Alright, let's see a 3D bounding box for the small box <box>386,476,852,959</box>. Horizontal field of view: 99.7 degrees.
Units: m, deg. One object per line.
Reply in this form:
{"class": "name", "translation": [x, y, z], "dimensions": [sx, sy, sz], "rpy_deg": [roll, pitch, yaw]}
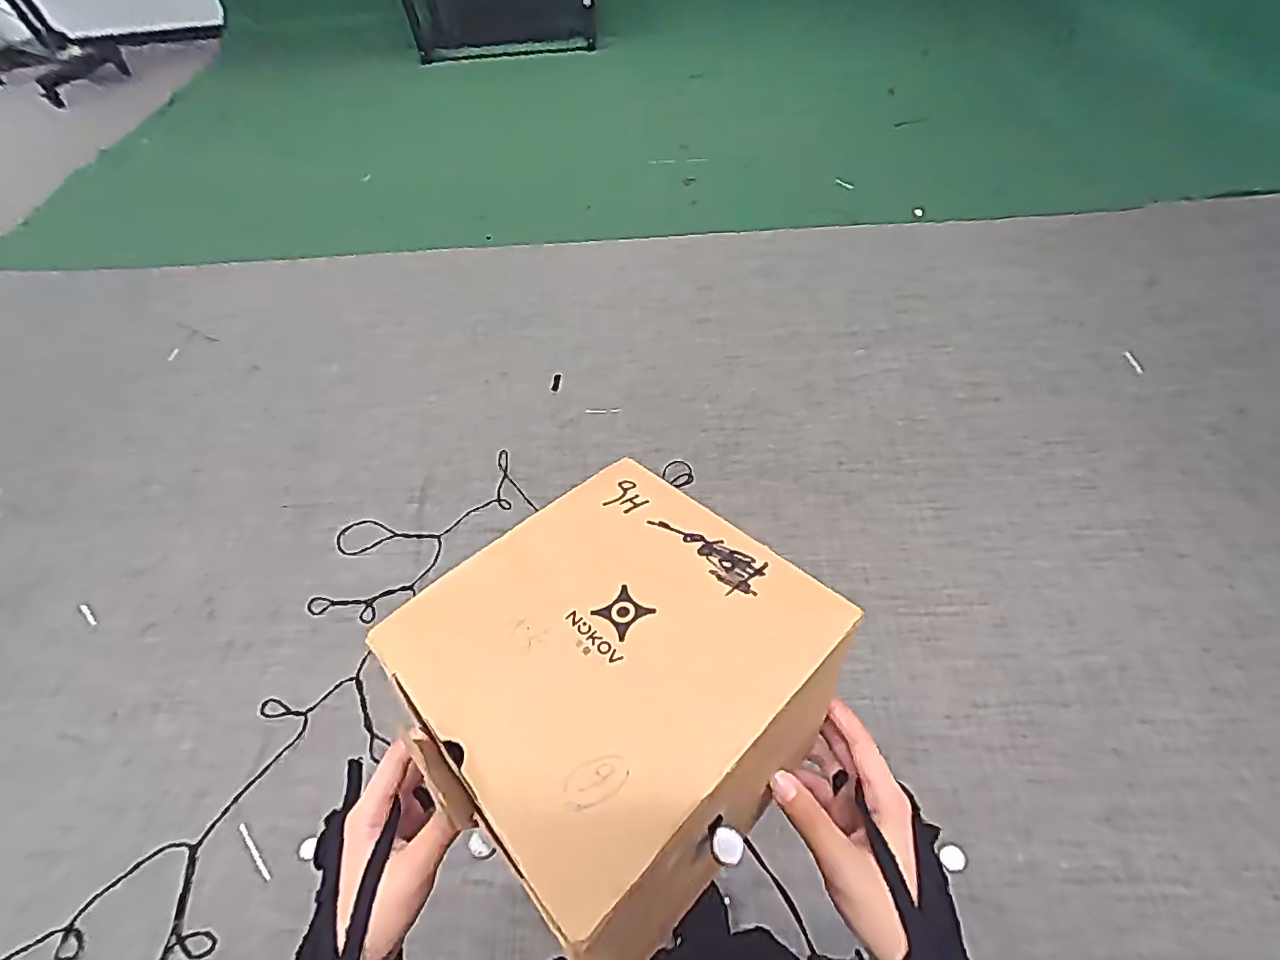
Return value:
{"class": "small box", "translation": [-0.005, 0.136, 0.320], "dimensions": [0.179, 0.176, 0.168], "rpy_deg": [-36, 52, -27]}
